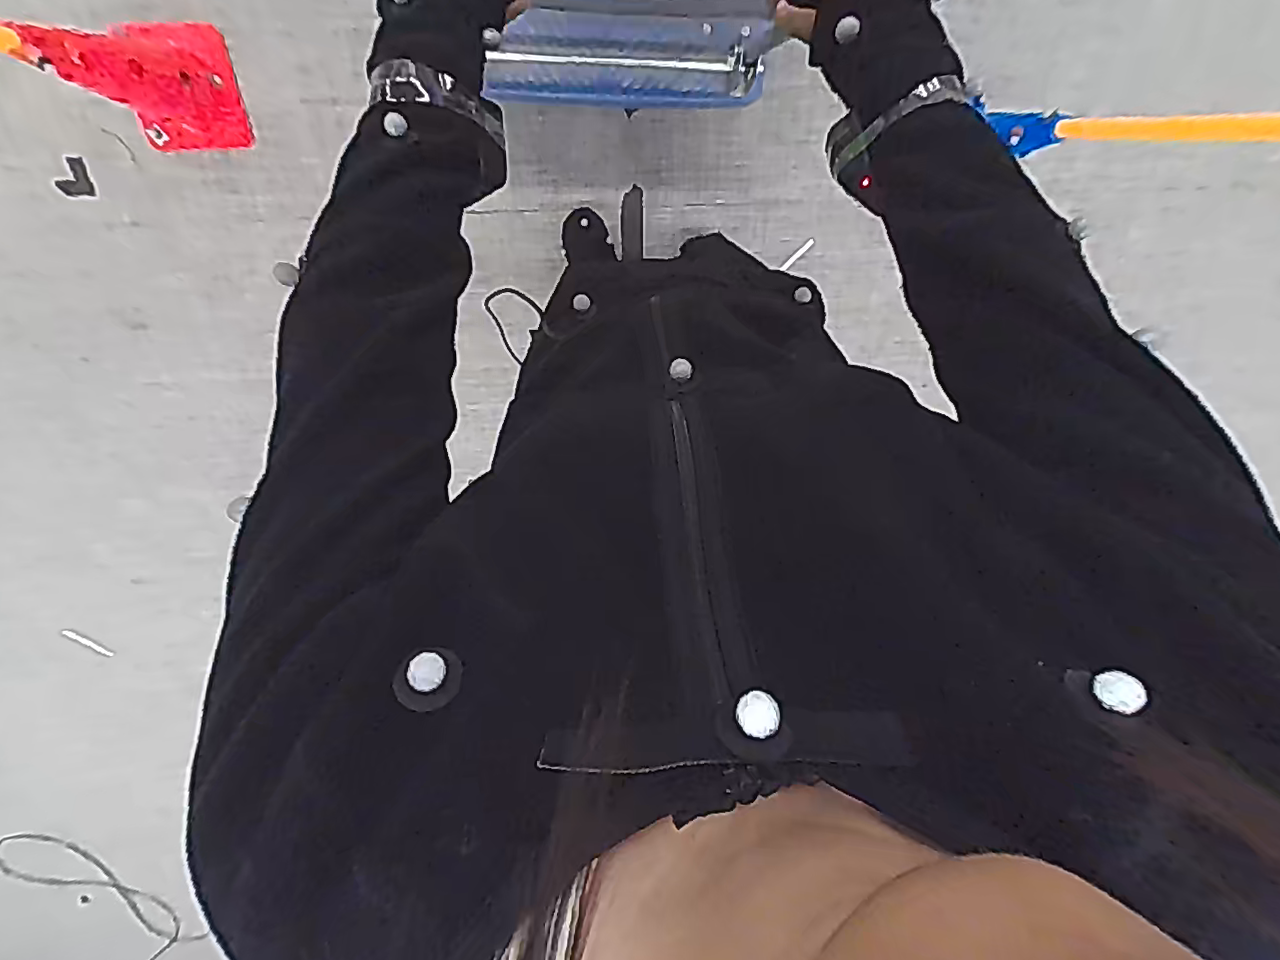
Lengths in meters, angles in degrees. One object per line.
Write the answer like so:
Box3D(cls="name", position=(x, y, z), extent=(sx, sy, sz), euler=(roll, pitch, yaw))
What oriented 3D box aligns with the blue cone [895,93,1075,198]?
Box3D(cls="blue cone", position=(0.680, -0.670, 1.057), extent=(0.193, 0.380, 0.192), euler=(-7, 116, -3))
